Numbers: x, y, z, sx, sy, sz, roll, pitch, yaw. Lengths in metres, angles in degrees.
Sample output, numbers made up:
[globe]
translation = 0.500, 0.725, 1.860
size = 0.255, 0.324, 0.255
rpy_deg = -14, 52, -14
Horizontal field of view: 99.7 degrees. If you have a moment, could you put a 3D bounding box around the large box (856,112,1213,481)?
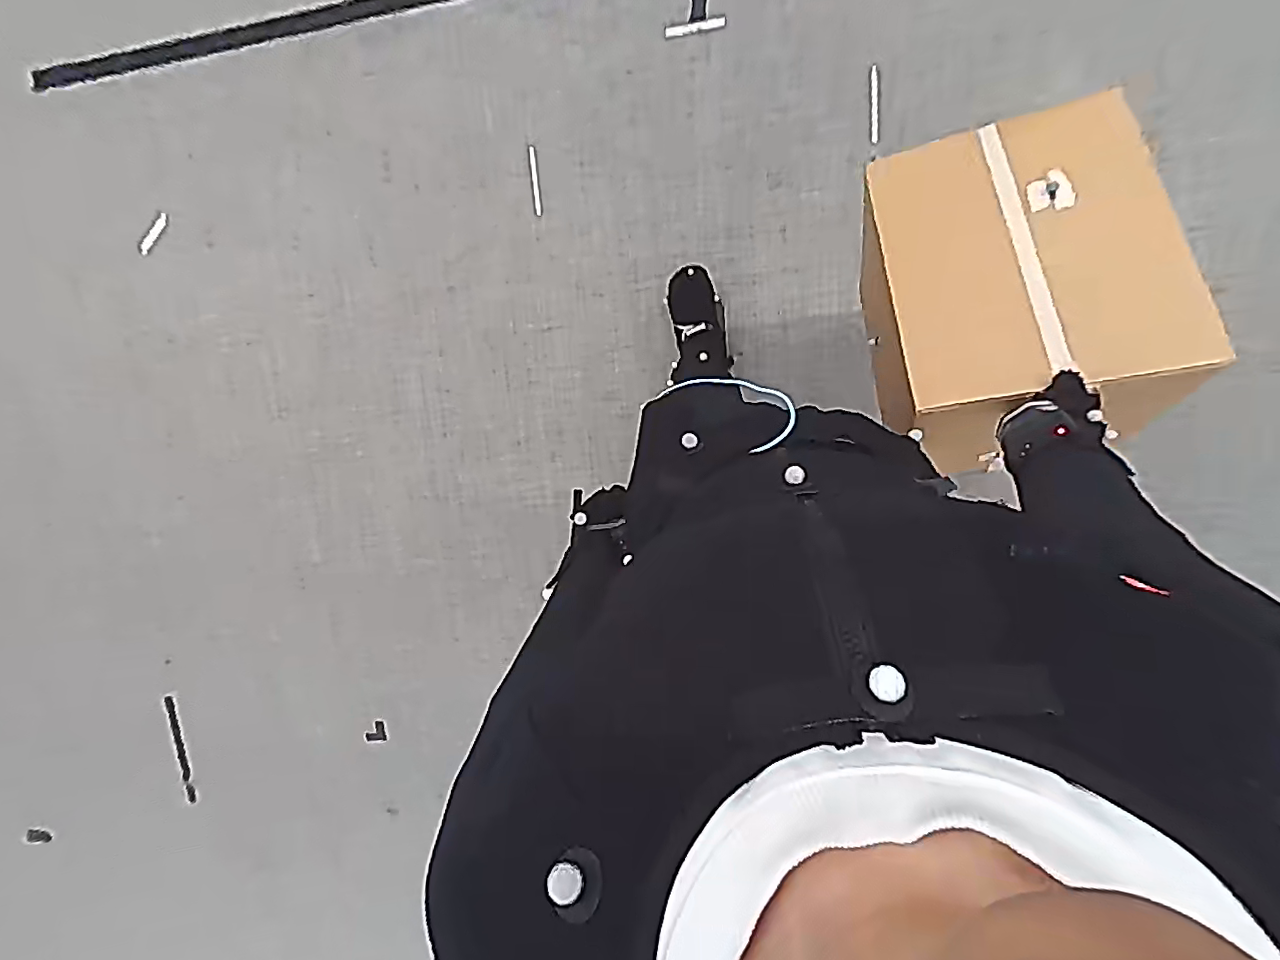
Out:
[large box]
translation = 0.536, -0.249, 0.845
size = 0.320, 0.320, 0.408
rpy_deg = -8, 69, 16
